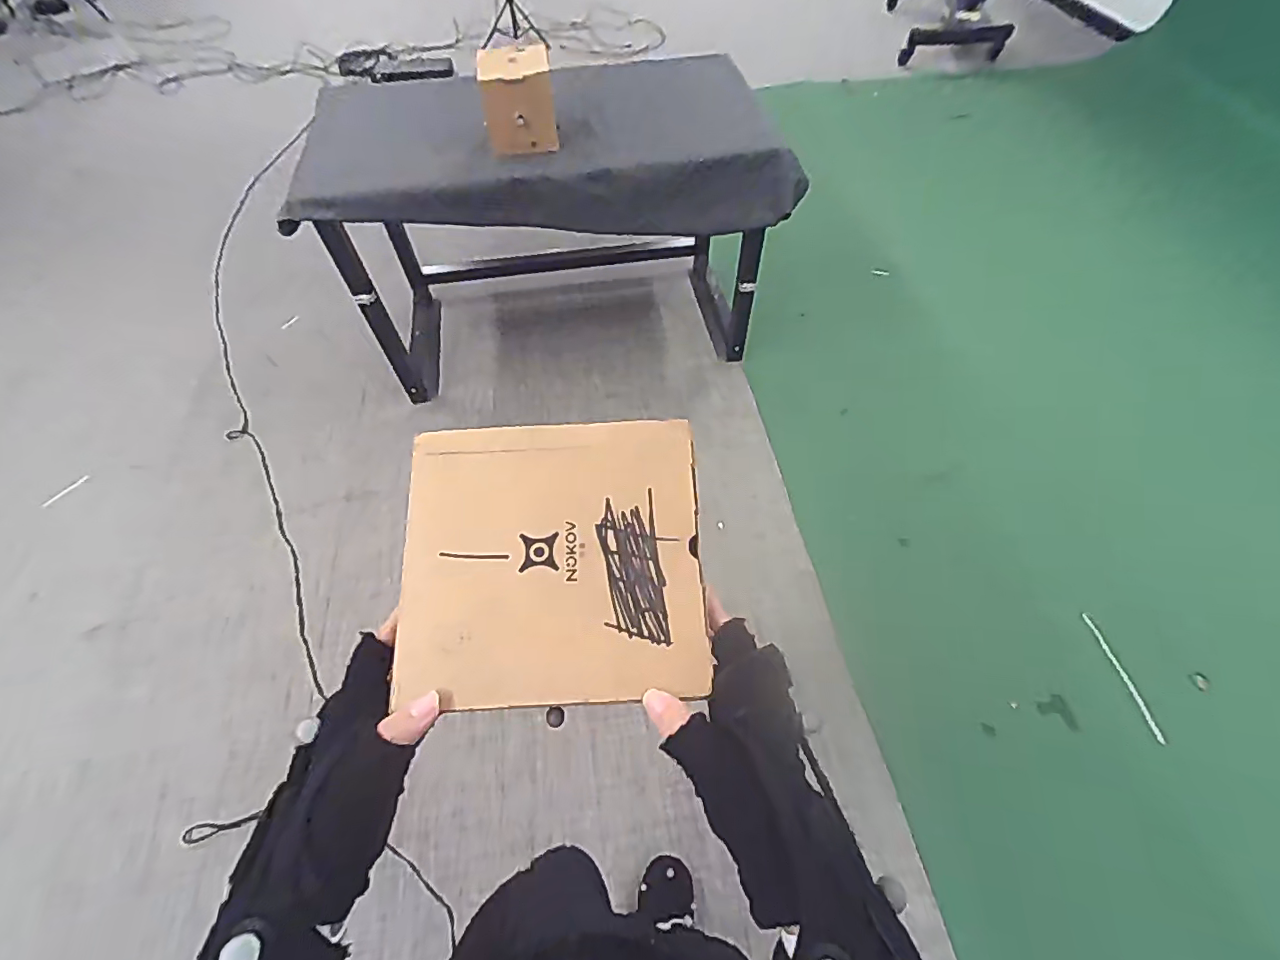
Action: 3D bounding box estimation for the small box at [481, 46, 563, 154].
[{"bbox_3d":[-0.288,-0.929,1.332,0.168,0.176,0.179,-8,57,-4],"label":"small box"}]
